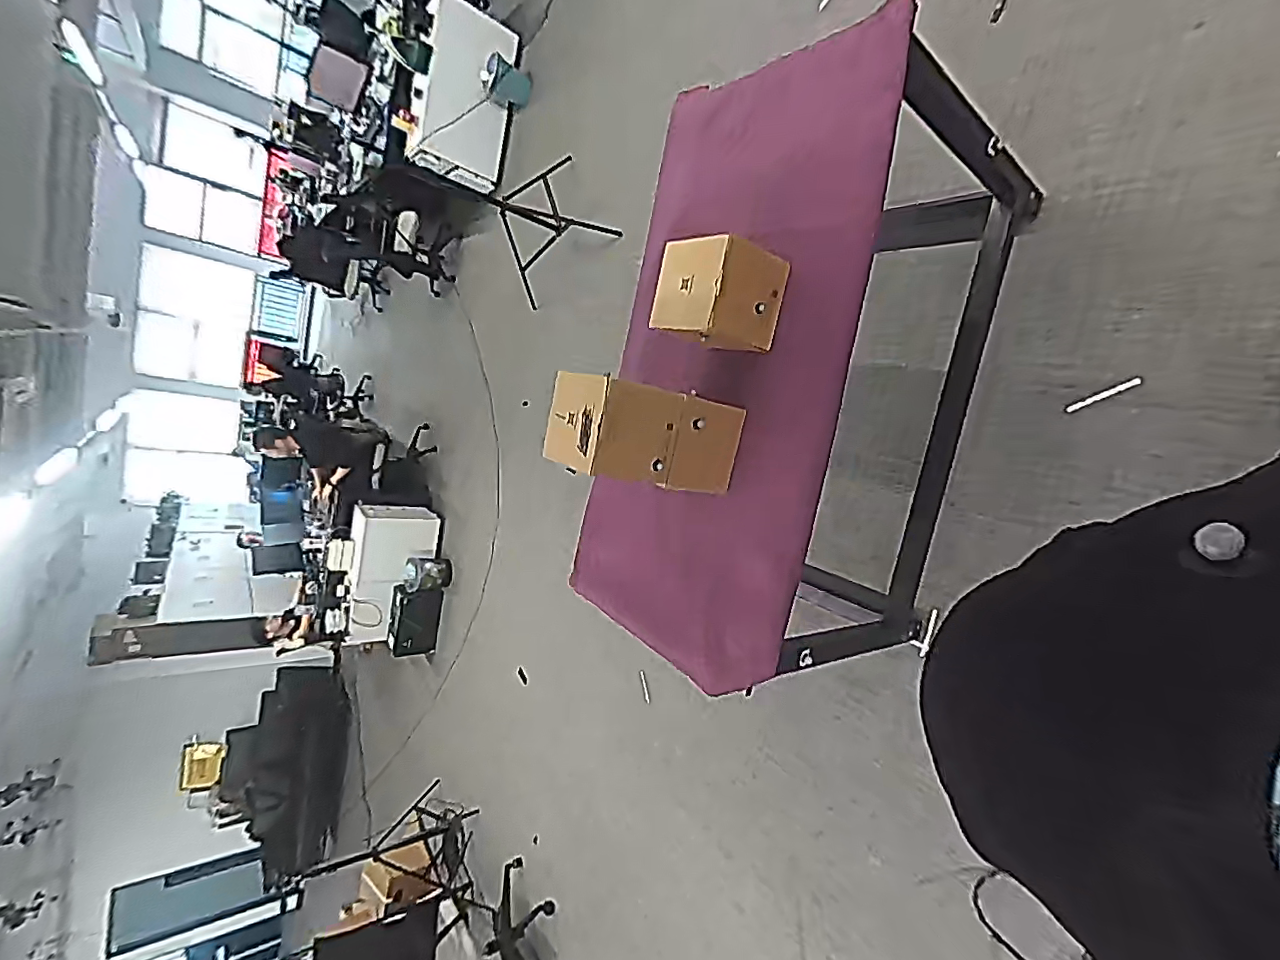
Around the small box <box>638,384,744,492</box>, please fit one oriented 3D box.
[{"bbox_3d":[0.085,-0.083,1.085,0.168,0.176,0.179,23,104,51],"label":"small box"}]

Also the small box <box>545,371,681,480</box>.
[{"bbox_3d":[-0.048,-0.097,0.989,0.179,0.176,0.168,21,101,52],"label":"small box"}]

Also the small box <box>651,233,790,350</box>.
[{"bbox_3d":[0.152,-0.351,1.034,0.179,0.176,0.168,23,104,51],"label":"small box"}]
